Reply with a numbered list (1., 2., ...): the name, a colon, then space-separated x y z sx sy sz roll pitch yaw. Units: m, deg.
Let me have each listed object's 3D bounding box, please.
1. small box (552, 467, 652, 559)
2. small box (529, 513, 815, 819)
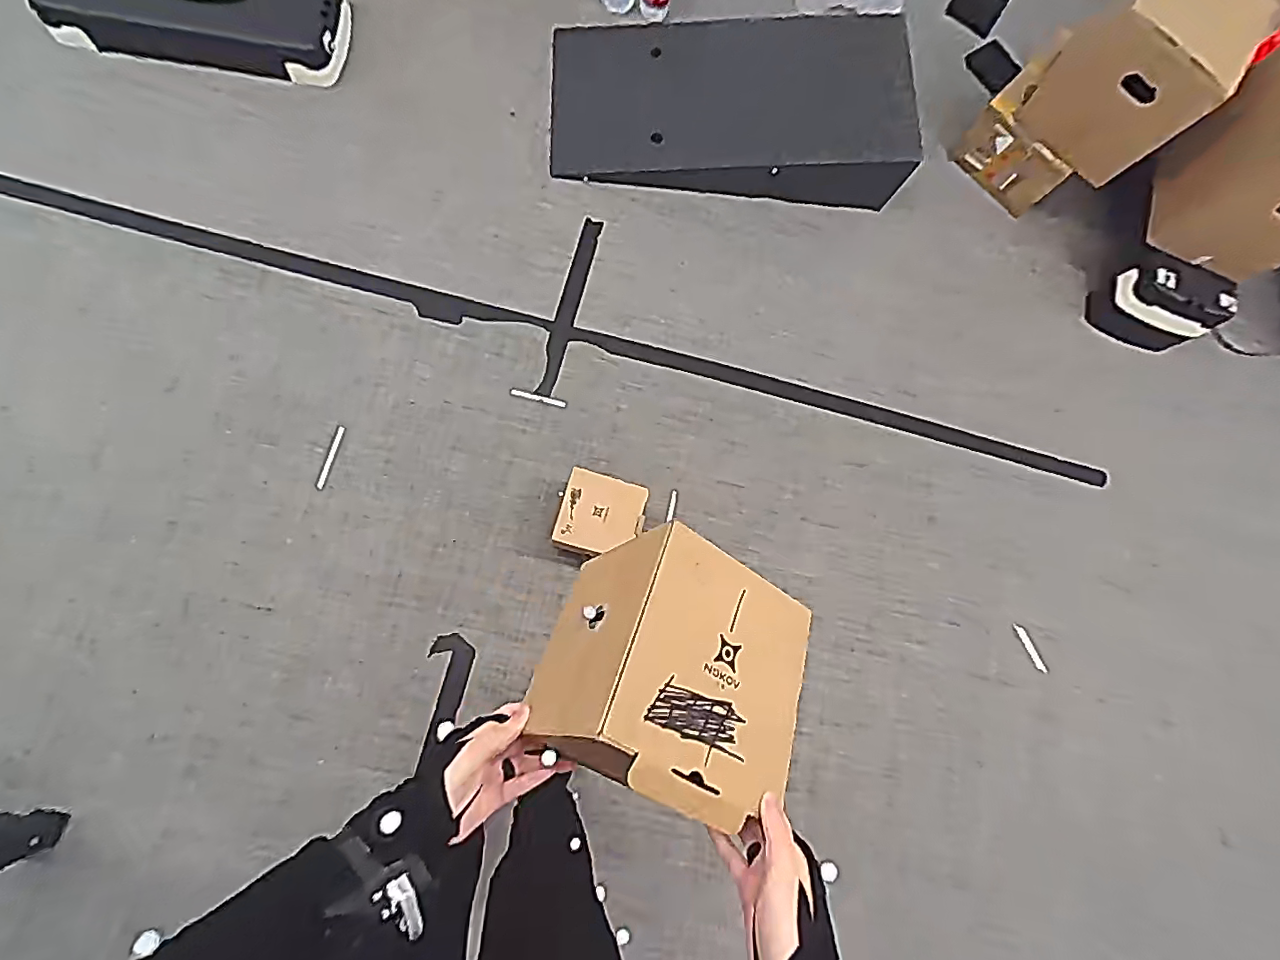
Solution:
1. small box: -0.091 0.086 1.219 0.179 0.176 0.168 18 76 -6
2. small box: 0.024 0.164 0.478 0.168 0.176 0.179 37 52 -17
